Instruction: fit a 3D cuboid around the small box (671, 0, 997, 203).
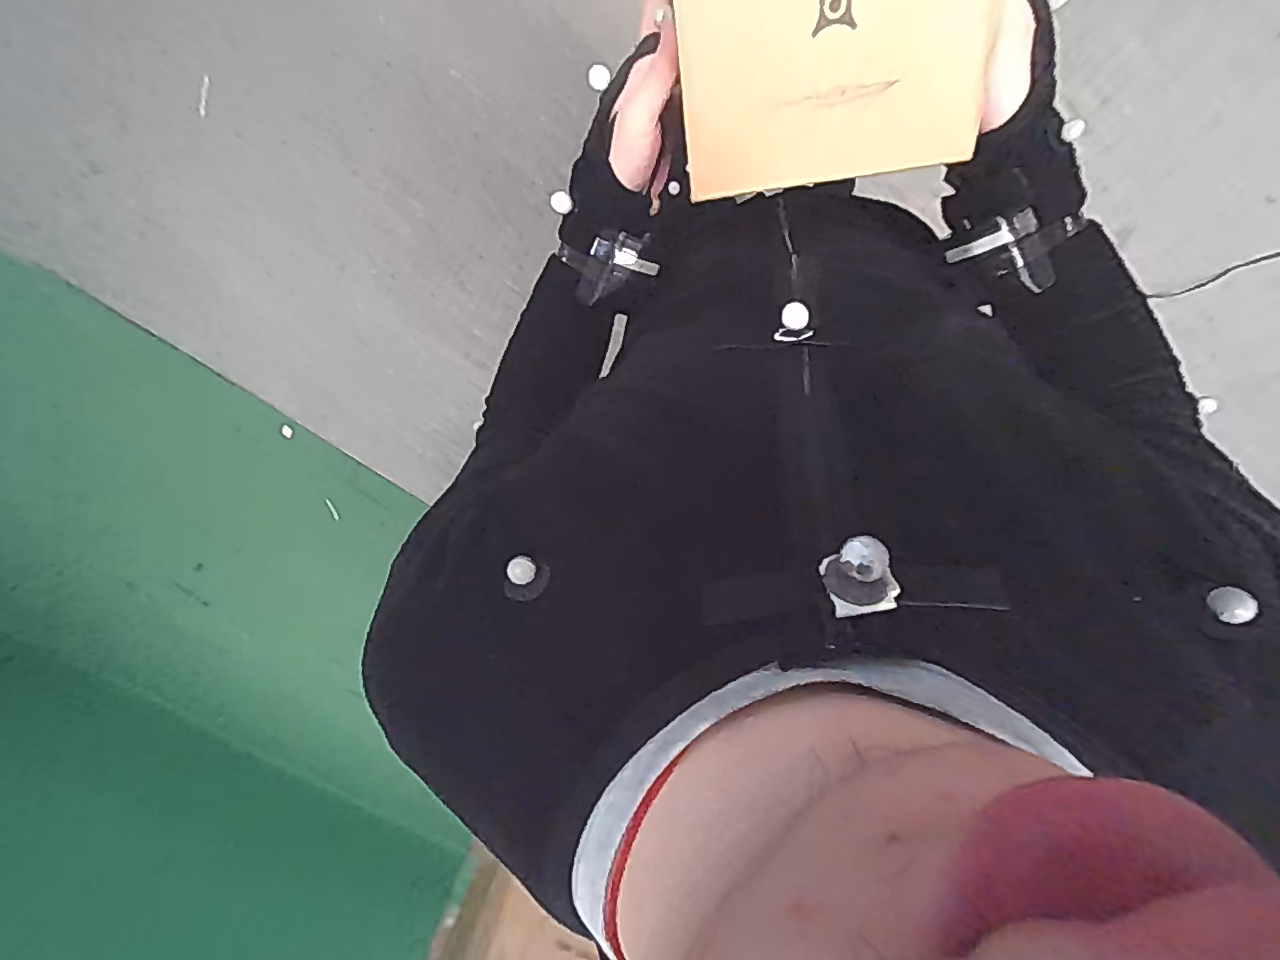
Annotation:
[{"bbox_3d":[0.105,-0.298,0.337,0.168,0.176,0.179,-2,133,10],"label":"small box"}]
